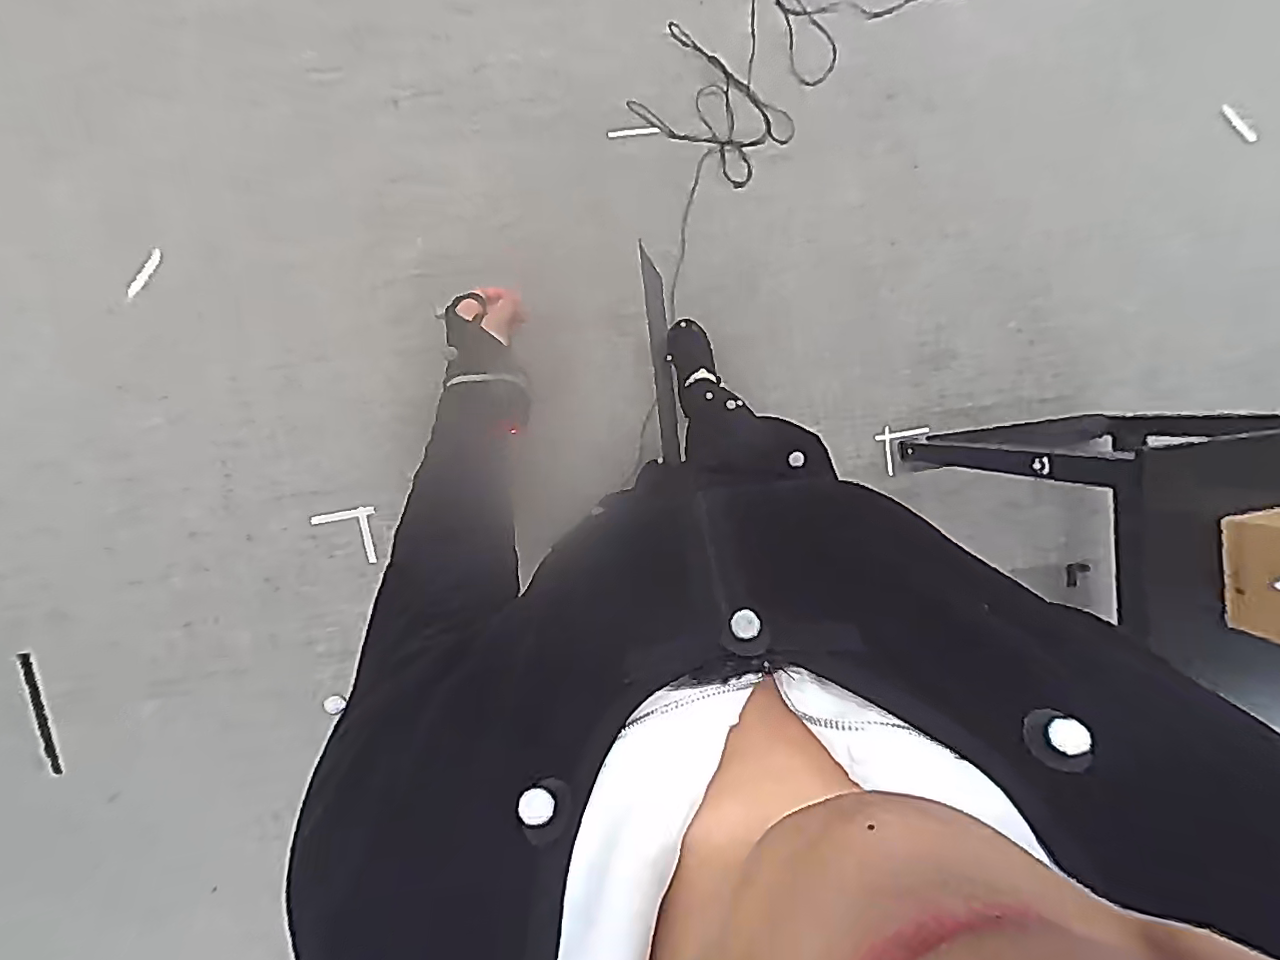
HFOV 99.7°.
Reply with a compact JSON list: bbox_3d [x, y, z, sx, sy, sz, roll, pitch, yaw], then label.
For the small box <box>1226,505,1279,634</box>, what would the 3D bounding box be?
[{"bbox_3d":[0.945,0.125,0.718,0.179,0.176,0.168,-10,97,-1],"label":"small box"}]
